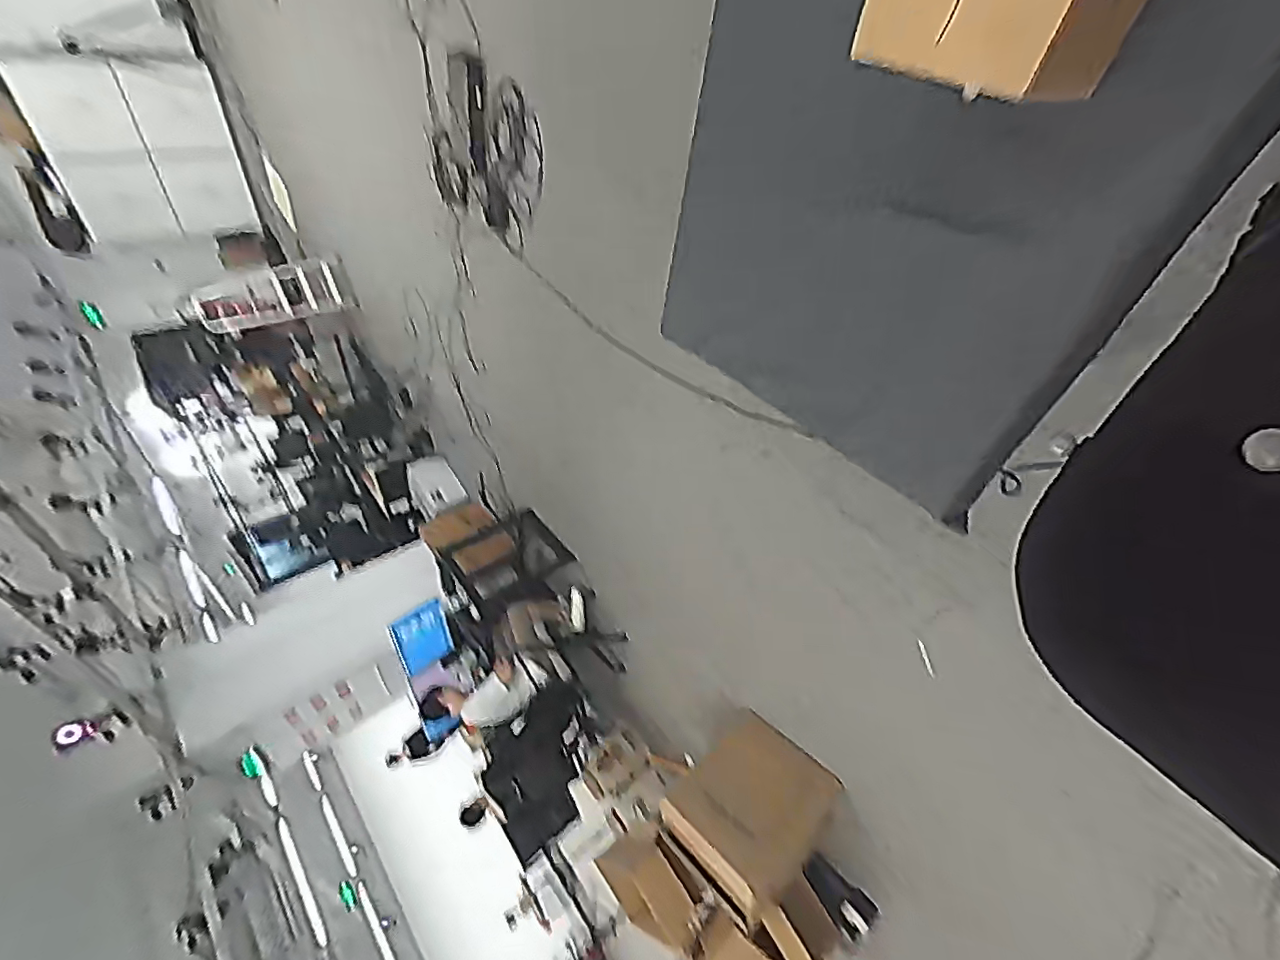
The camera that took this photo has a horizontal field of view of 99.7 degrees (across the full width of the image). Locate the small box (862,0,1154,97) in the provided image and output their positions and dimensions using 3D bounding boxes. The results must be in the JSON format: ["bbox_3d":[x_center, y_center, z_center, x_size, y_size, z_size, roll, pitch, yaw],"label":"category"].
[{"bbox_3d":[0.324,-0.435,0.444,0.168,0.176,0.179,40,140,32],"label":"small box"}]
